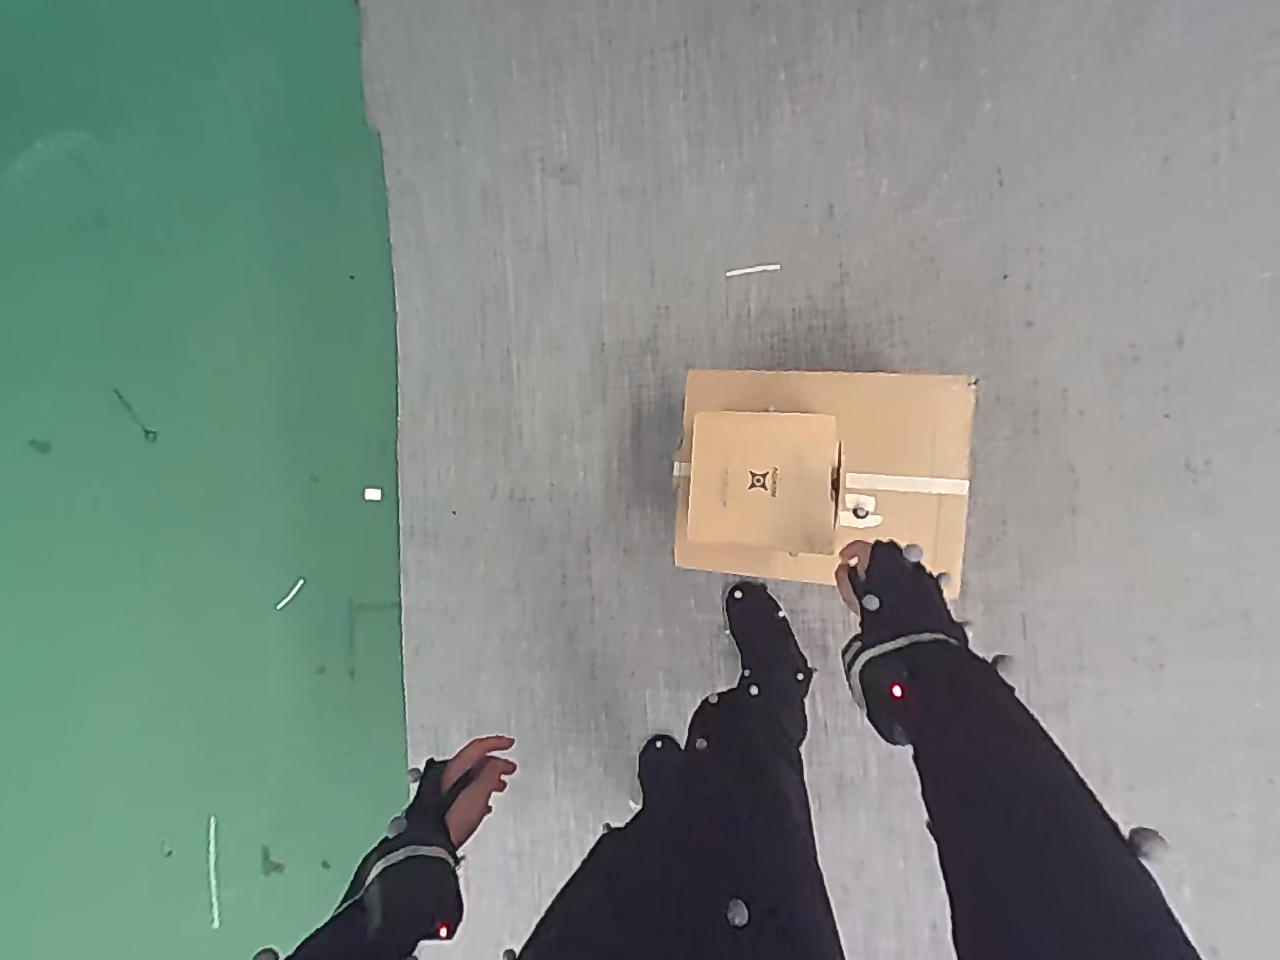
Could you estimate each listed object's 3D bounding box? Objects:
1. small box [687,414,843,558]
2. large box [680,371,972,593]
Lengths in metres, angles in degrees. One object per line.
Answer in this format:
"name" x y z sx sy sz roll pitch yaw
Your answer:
"small box" 0.166 0.005 0.720 0.179 0.176 0.168 3 89 15
"large box" 0.293 -0.003 0.938 0.408 0.320 0.320 4 92 14
